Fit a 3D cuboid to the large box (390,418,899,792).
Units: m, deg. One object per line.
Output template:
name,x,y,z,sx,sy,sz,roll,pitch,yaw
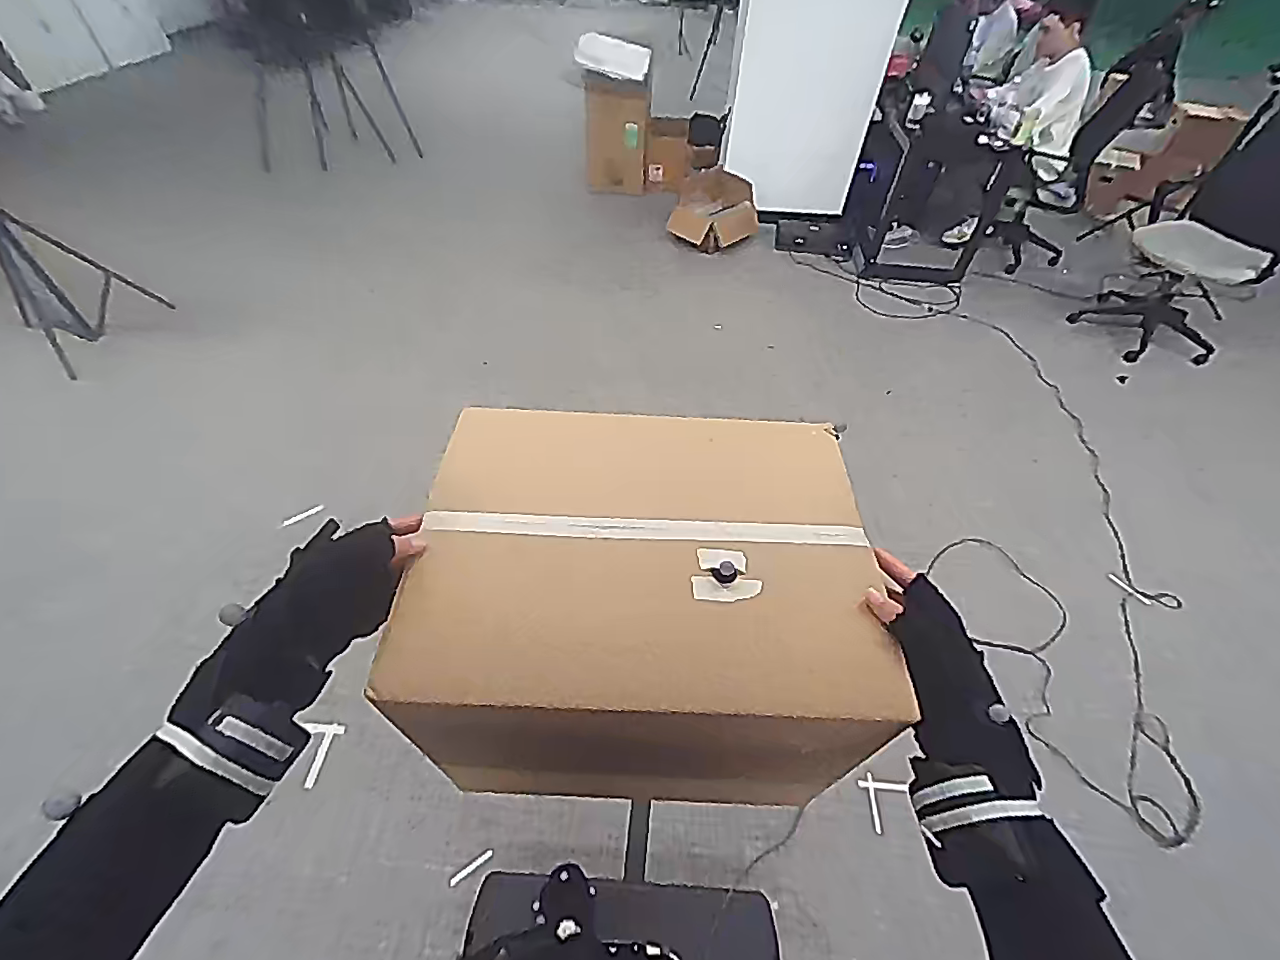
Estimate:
large box,-0.001,0.150,0.622,0.408,0.320,0.320,3,50,-1
